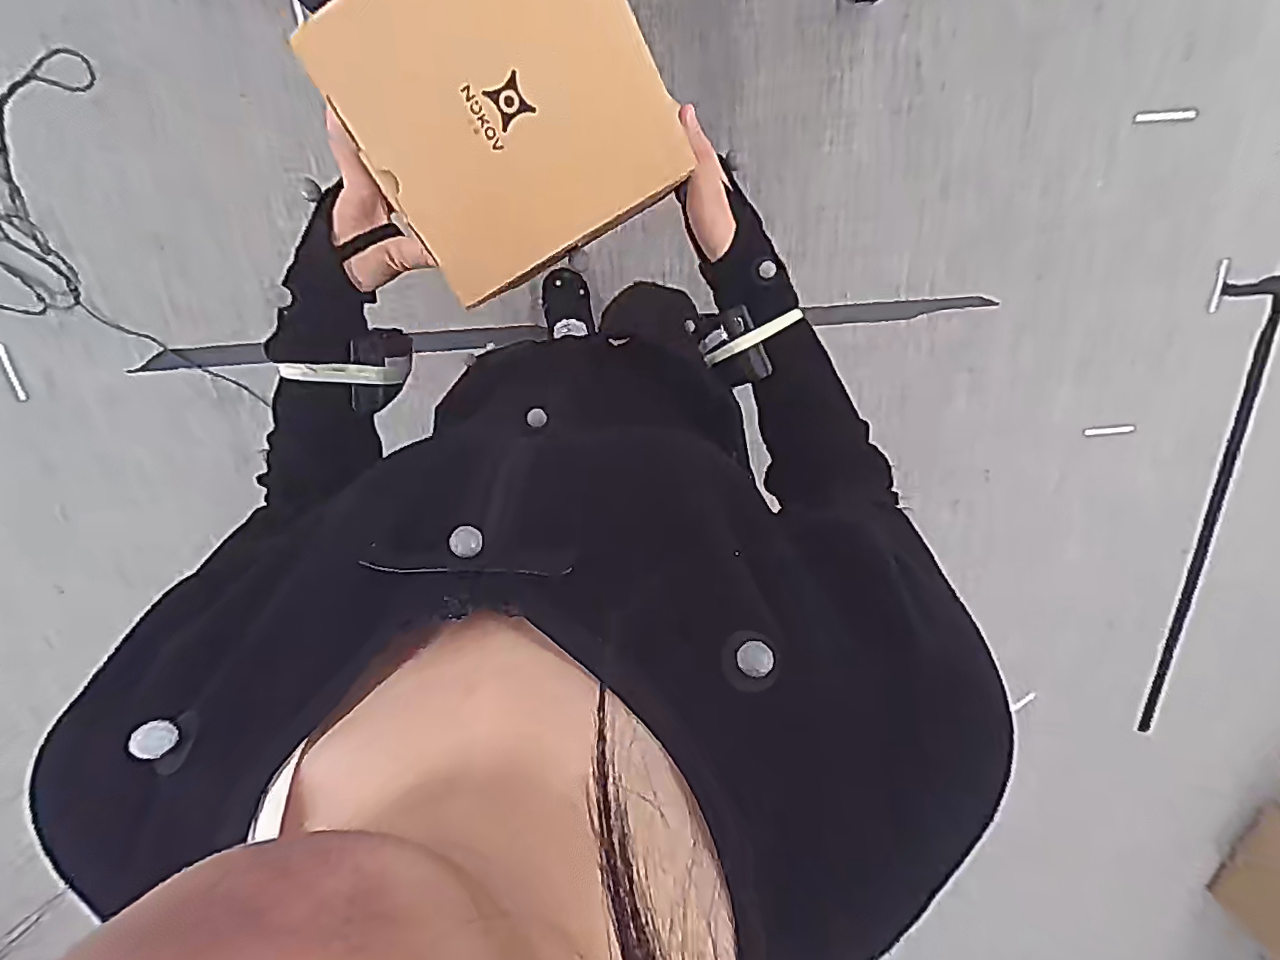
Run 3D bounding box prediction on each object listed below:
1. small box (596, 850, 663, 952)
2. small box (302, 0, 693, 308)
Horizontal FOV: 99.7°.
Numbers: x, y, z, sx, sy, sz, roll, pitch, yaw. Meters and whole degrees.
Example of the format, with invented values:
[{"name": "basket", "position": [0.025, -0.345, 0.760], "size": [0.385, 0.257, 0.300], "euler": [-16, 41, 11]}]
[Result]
[{"name": "small box", "position": [-0.035, 1.212, 1.566], "size": [0.179, 0.176, 0.168], "euler": [-6, 109, -2]}, {"name": "small box", "position": [-0.081, -0.252, 0.390], "size": [0.179, 0.176, 0.168], "euler": [-27, 112, 13]}]
